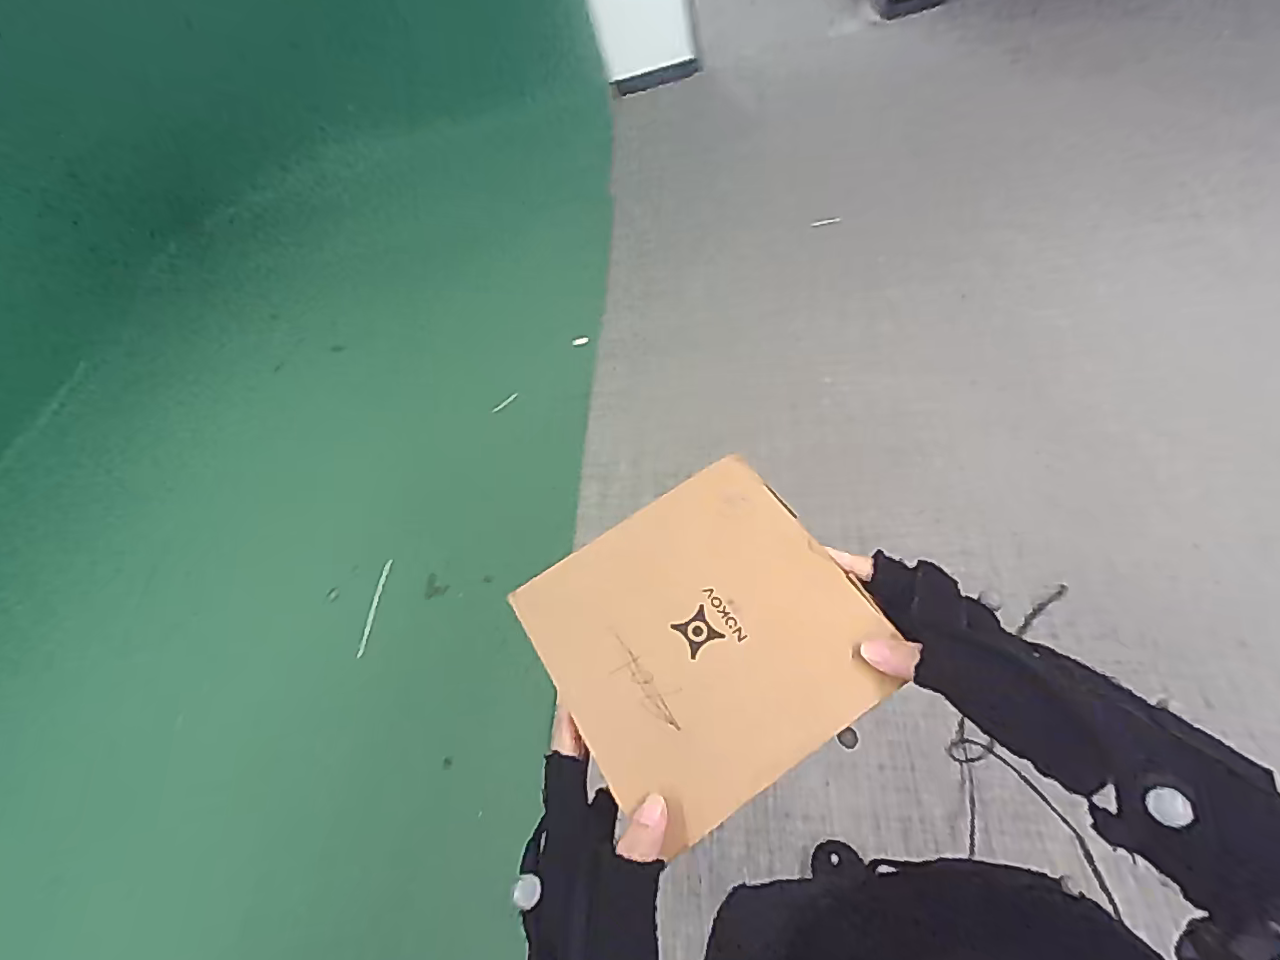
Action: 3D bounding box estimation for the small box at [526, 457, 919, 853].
[{"bbox_3d":[0.050,0.121,0.387,0.179,0.176,0.168,-32,62,-7],"label":"small box"}]
